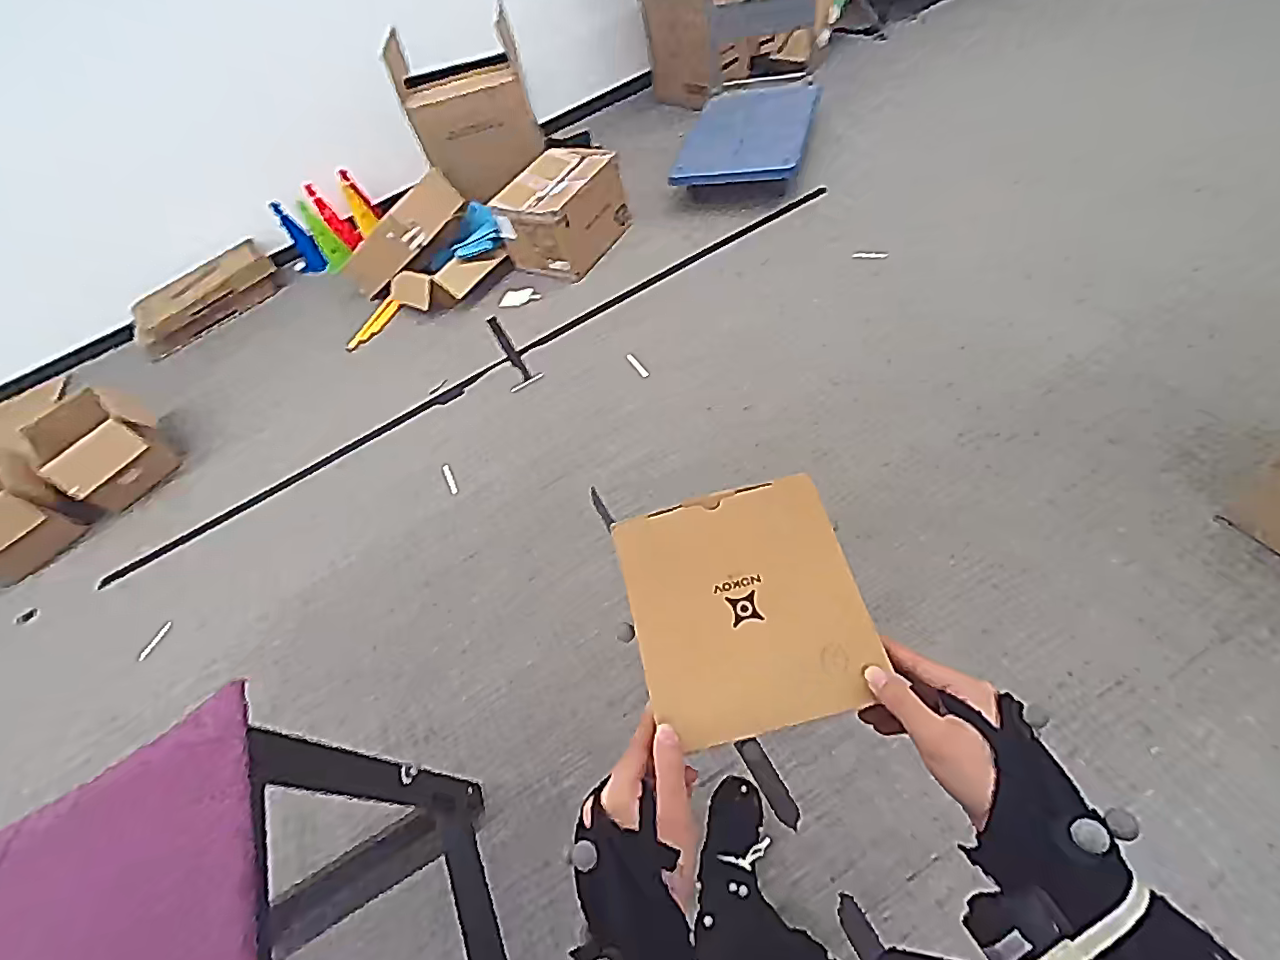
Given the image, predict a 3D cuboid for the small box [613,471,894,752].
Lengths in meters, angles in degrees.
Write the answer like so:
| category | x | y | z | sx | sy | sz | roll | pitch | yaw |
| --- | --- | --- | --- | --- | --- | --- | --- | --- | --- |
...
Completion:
| category | x | y | z | sx | sy | sz | roll | pitch | yaw |
| --- | --- | --- | --- | --- | --- | --- | --- | --- | --- |
| small box | 0.085 | 0.121 | 0.466 | 0.168 | 0.176 | 0.179 | -15 | 62 | 1 |
